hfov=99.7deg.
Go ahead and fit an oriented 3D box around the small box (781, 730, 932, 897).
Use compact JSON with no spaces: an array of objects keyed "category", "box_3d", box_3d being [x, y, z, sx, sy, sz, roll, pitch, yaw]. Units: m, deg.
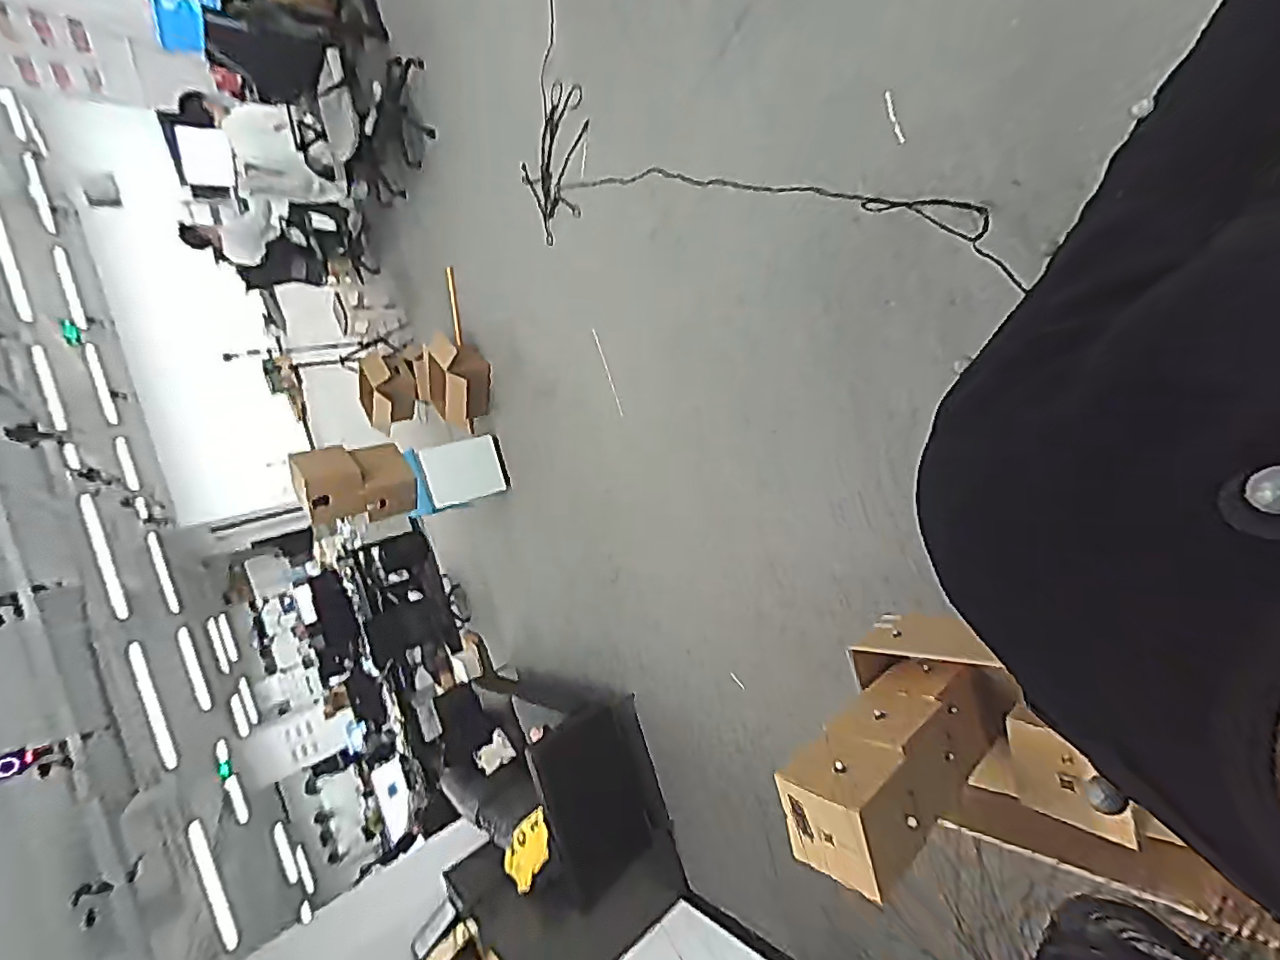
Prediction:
[{"category":"small box","box_3d":[0.391,0.582,0.977,0.179,0.176,0.168,-9,97,54]}]
